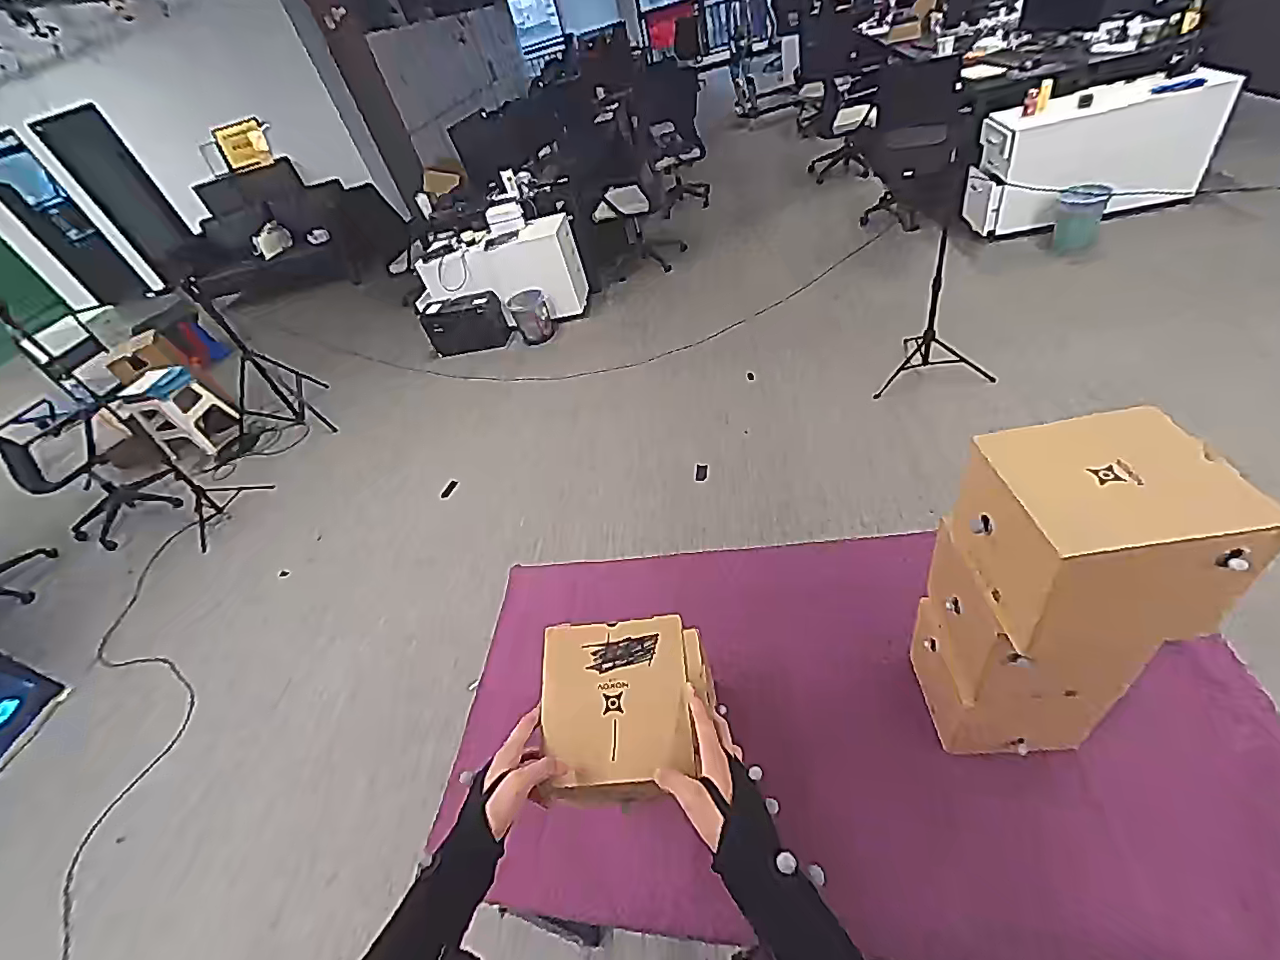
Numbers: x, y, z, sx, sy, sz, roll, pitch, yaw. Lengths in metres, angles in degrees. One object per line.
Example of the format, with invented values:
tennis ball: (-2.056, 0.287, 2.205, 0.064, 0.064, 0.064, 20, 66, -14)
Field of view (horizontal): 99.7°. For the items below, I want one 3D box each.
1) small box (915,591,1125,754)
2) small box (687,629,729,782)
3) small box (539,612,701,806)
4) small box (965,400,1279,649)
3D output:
small box: (0.515, 0.273, 0.767, 0.179, 0.176, 0.168, -8, 42, 10)
small box: (0.032, 0.359, 0.839, 0.179, 0.176, 0.168, -11, 41, 7)
small box: (-0.017, 0.280, 0.655, 0.168, 0.176, 0.179, -6, 53, 4)
small box: (0.449, 0.049, 0.535, 0.179, 0.176, 0.168, -10, 42, 8)
